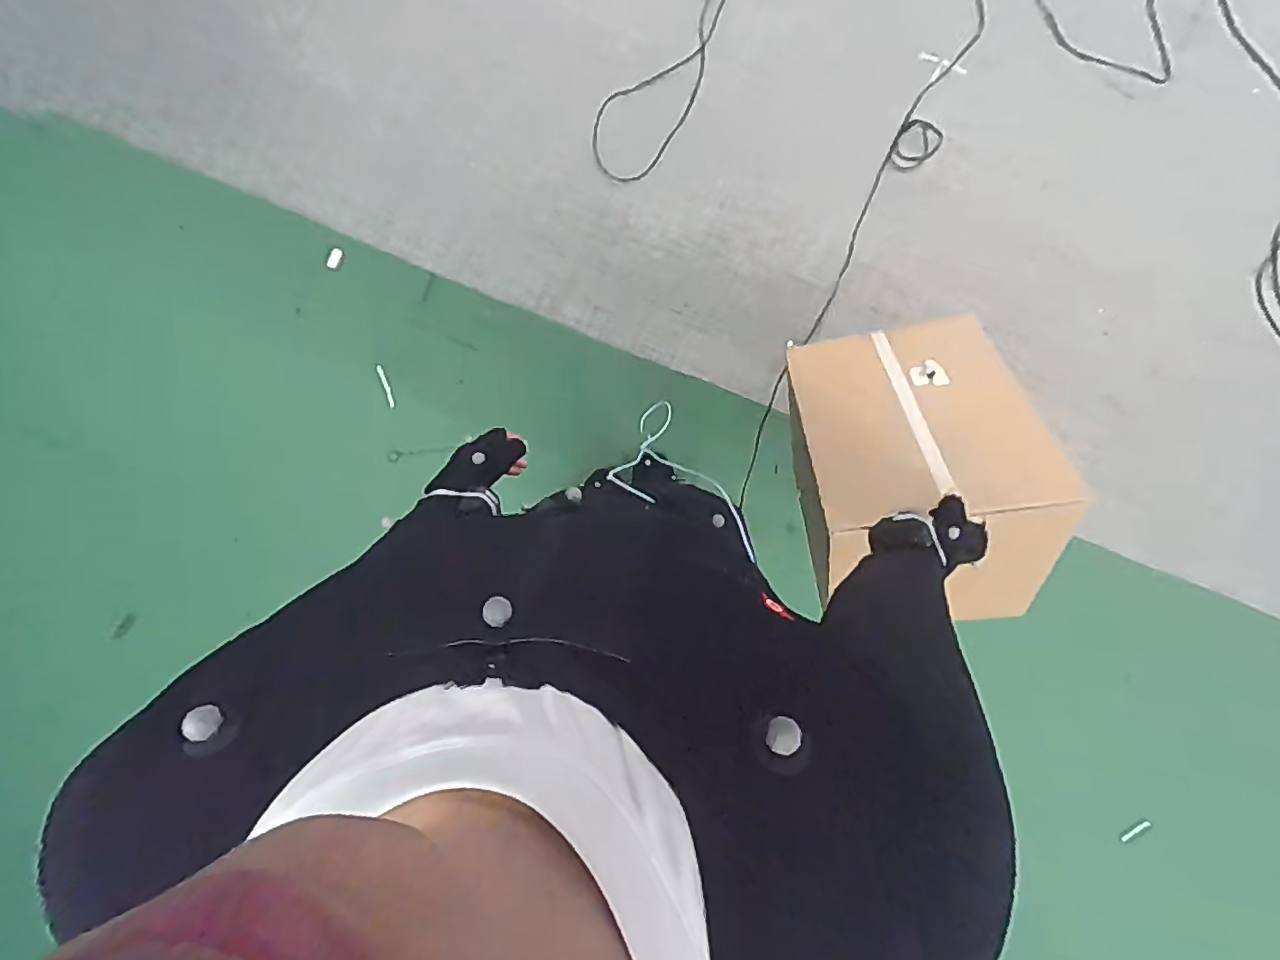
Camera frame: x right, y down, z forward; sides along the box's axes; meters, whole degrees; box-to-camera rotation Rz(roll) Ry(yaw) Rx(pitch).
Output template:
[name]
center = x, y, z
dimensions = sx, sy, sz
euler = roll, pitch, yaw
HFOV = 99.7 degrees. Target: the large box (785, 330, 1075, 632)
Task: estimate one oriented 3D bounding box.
[large box]
center = 0.448, 0.006, 0.947
dimensions = 0.320, 0.320, 0.408
euler = -7, 48, 12
